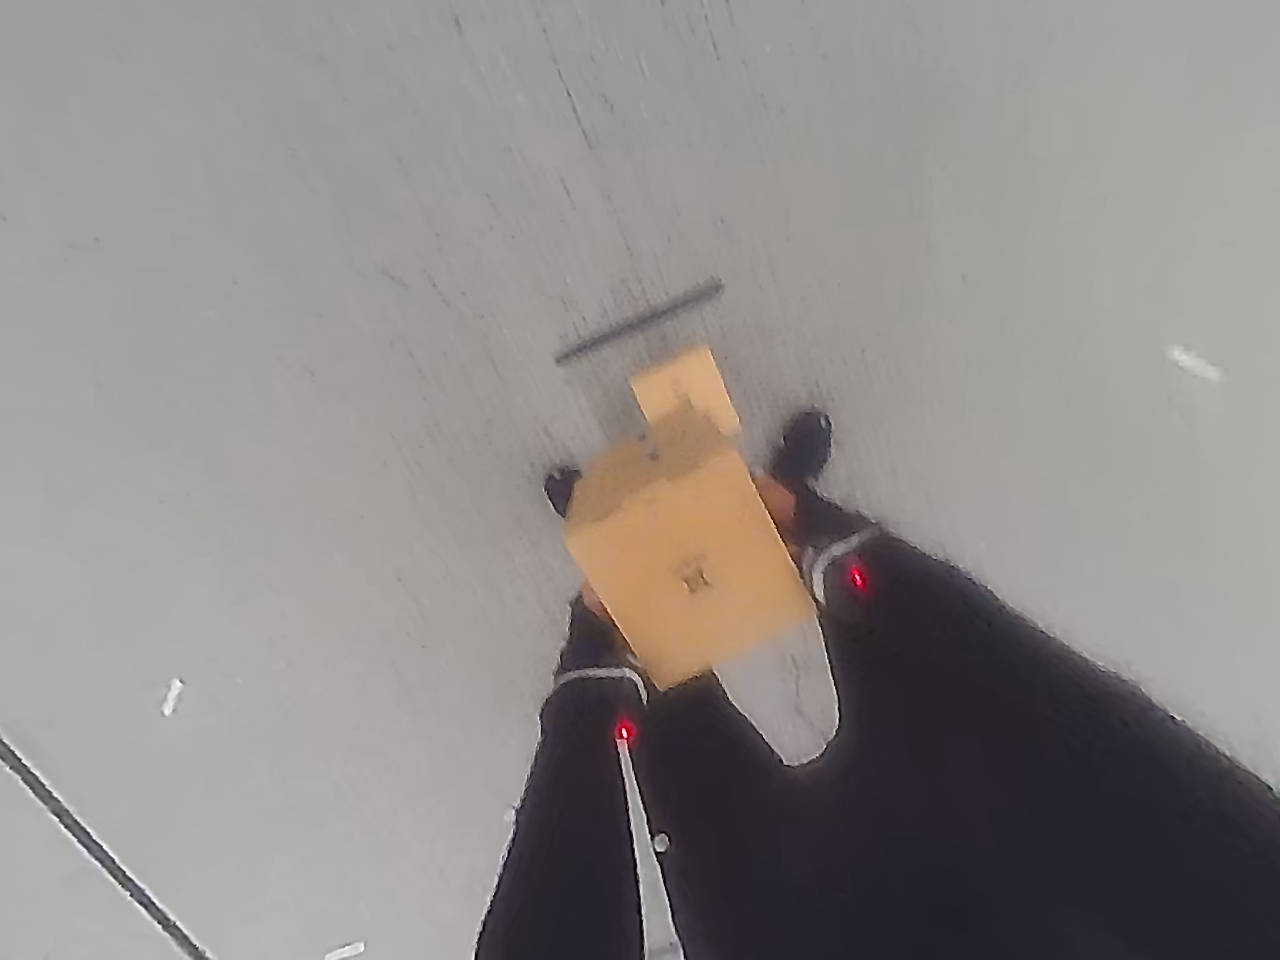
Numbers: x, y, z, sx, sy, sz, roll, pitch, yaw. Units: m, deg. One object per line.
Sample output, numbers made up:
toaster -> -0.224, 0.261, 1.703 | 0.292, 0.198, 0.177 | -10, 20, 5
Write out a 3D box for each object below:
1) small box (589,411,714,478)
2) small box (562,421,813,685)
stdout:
small box -> 0.040, 0.022, 0.708 | 0.168, 0.176, 0.179 | -30, 105, 6
small box -> 0.043, 0.061, 0.548 | 0.168, 0.176, 0.179 | -30, 104, 6
